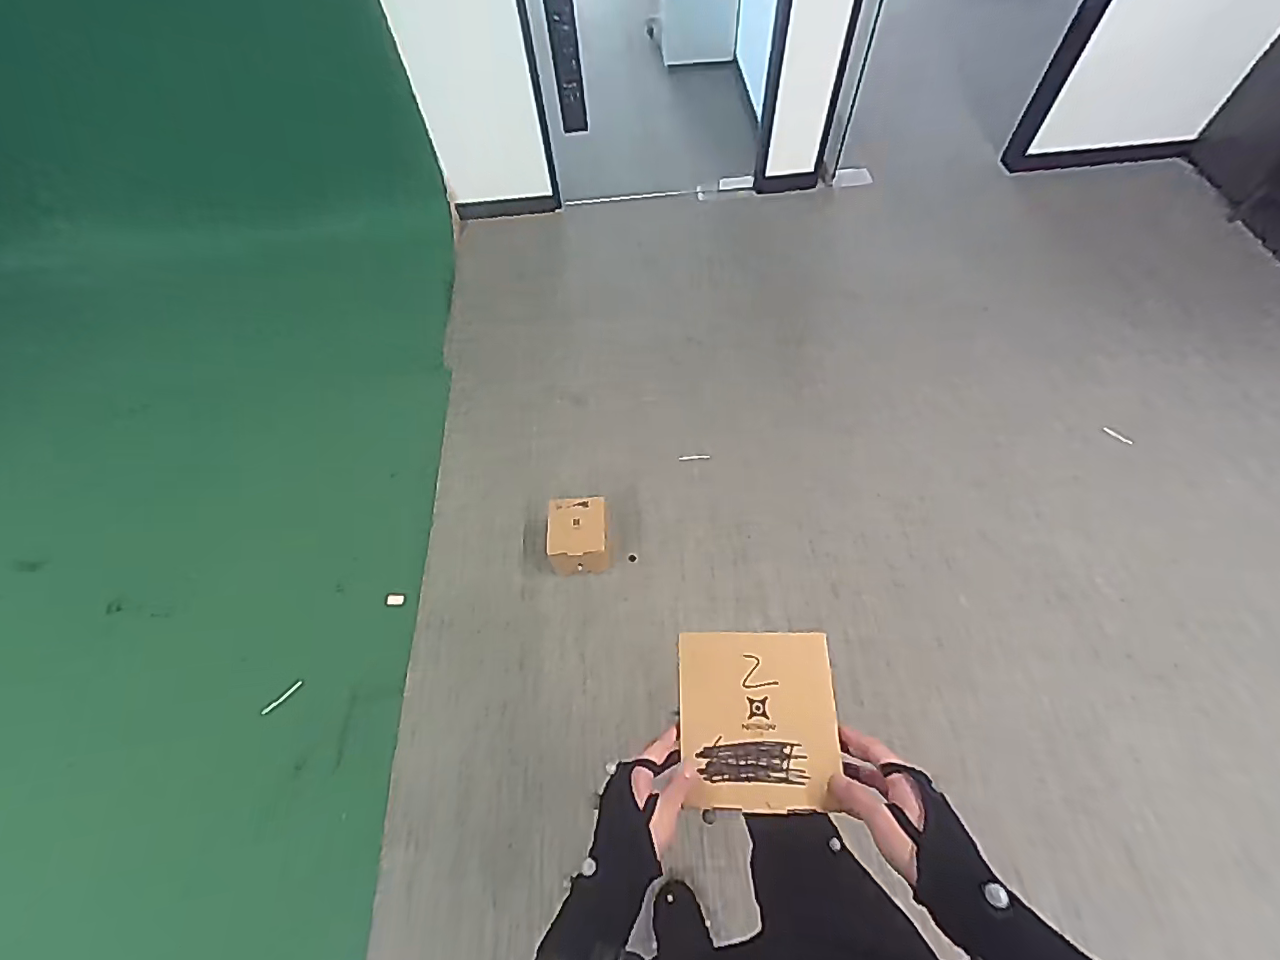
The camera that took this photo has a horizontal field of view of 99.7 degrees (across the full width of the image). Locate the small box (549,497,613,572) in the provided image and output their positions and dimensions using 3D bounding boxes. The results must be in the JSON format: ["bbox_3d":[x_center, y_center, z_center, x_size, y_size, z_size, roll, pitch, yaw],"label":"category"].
[{"bbox_3d":[-0.169,0.169,1.611,0.168,0.176,0.179,-3,60,2],"label":"small box"}]
